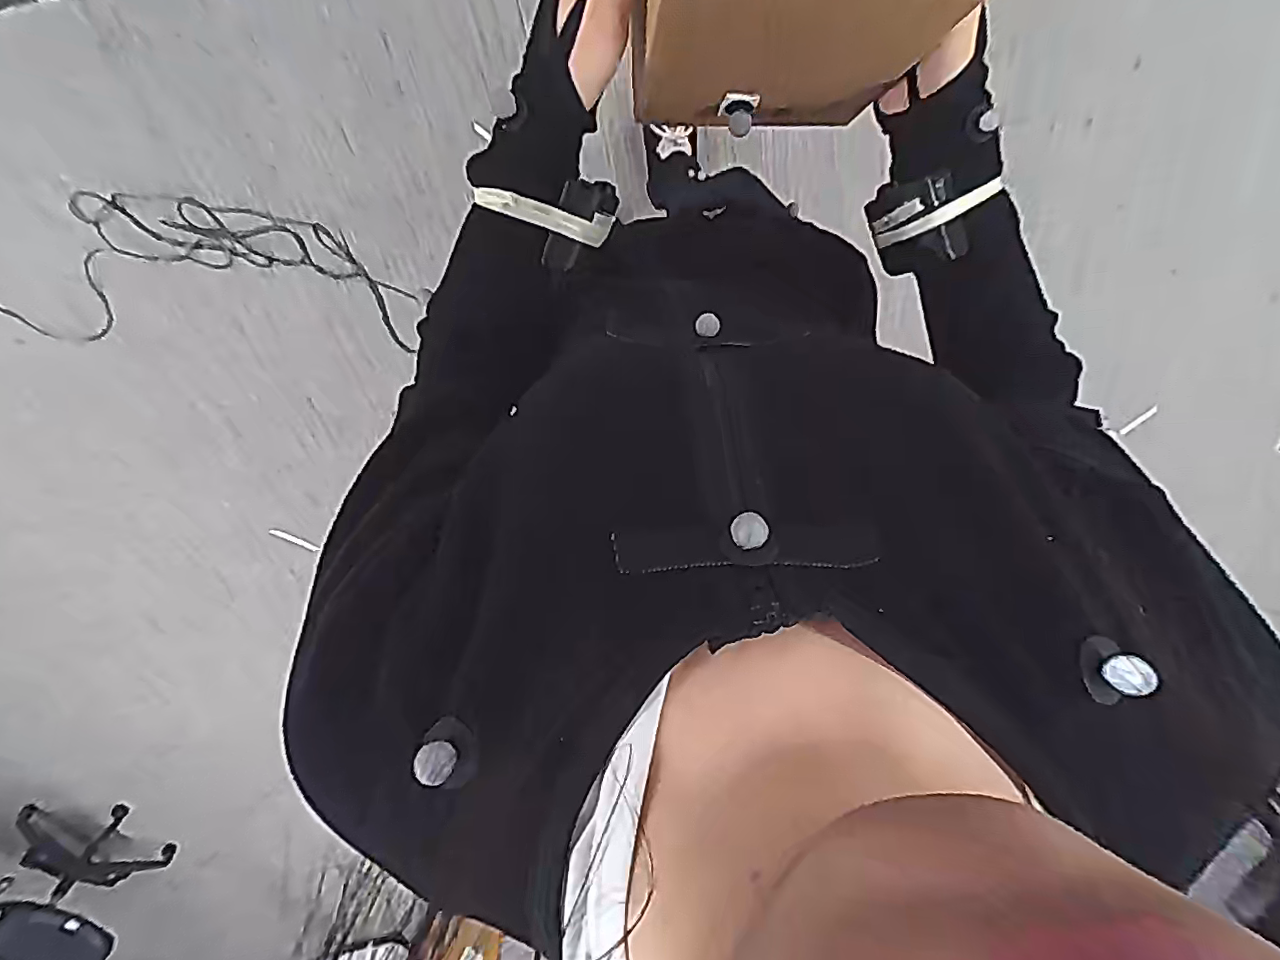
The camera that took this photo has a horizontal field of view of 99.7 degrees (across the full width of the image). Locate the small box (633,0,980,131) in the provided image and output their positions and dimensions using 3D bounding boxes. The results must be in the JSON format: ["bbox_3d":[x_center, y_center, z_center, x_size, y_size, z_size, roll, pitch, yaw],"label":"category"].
[{"bbox_3d":[0.082,-0.334,0.314,0.168,0.176,0.179,-4,103,-4],"label":"small box"}]
